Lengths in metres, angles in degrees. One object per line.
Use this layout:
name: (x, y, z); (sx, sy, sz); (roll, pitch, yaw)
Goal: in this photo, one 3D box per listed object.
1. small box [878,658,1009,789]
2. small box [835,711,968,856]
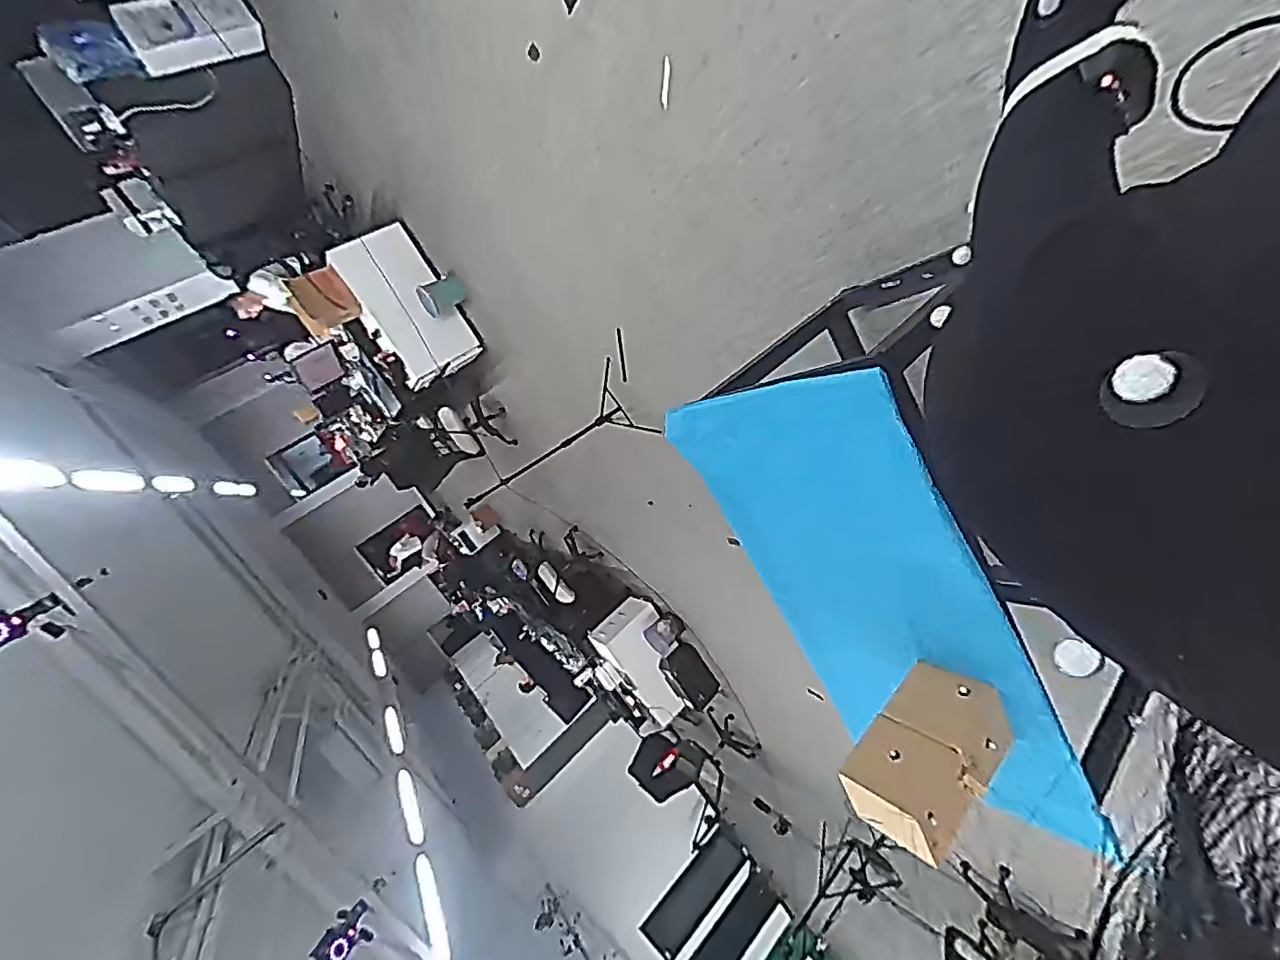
small box: (0.668, 0.536, 1.196); (0.179, 0.176, 0.168); (4, 127, 58)
small box: (0.549, 0.636, 1.139); (0.179, 0.176, 0.168); (8, 131, 54)
